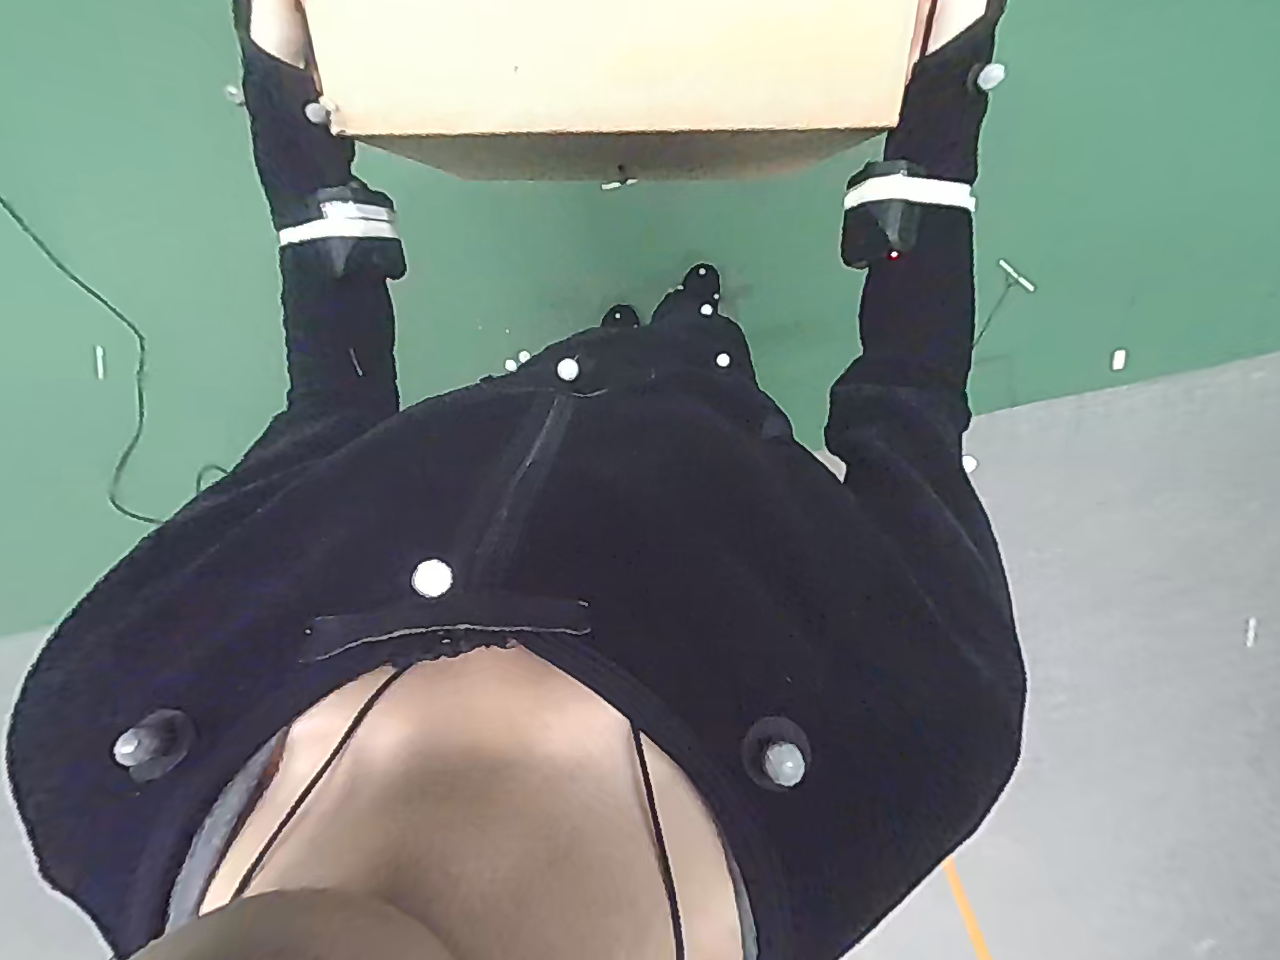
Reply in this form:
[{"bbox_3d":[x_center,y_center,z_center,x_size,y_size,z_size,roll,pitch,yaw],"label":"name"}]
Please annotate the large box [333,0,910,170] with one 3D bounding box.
[{"bbox_3d":[-0.011,-0.463,0.474,0.408,0.320,0.320,0,113,1],"label":"large box"}]
